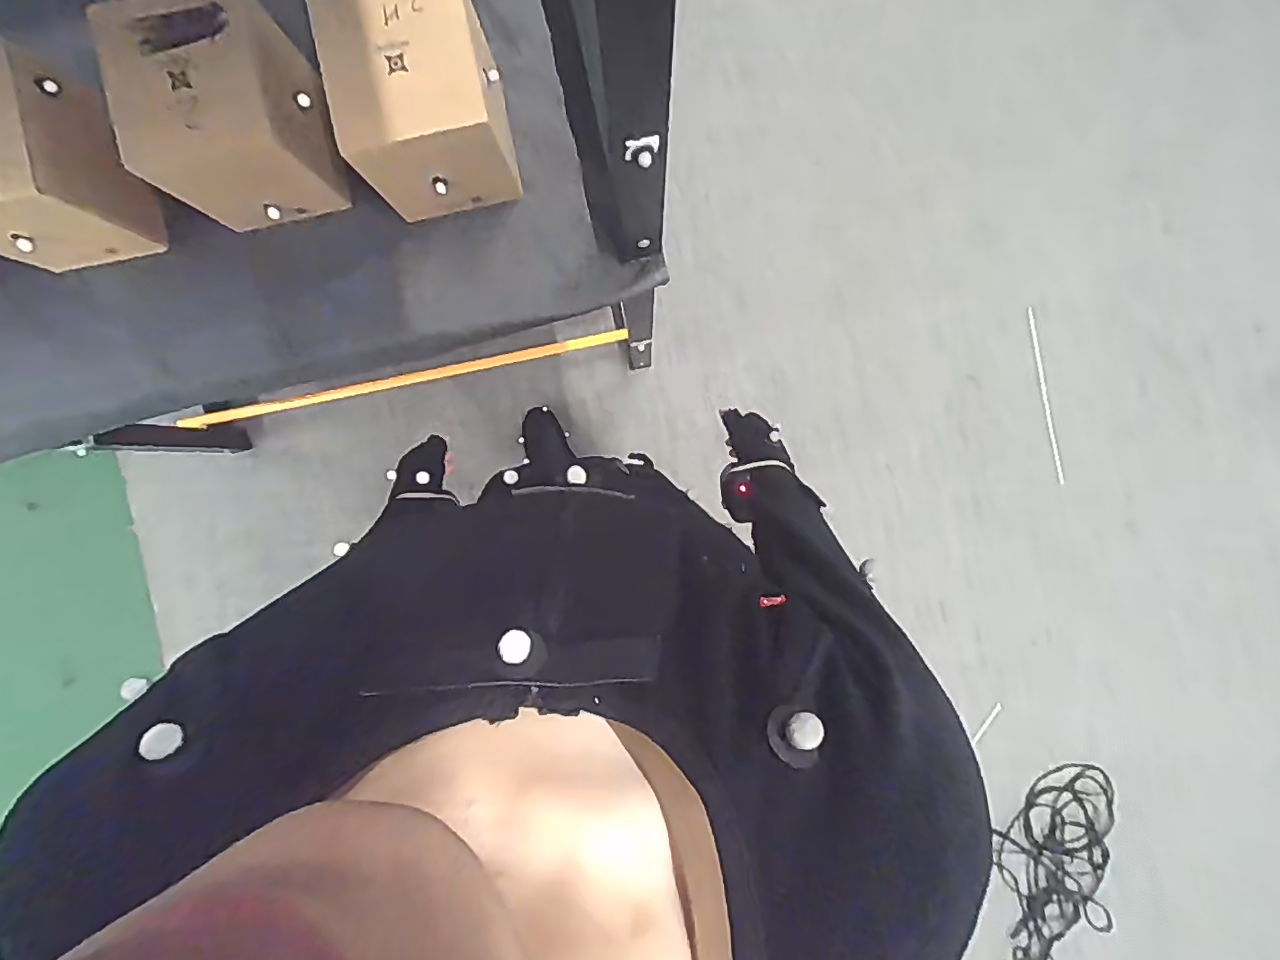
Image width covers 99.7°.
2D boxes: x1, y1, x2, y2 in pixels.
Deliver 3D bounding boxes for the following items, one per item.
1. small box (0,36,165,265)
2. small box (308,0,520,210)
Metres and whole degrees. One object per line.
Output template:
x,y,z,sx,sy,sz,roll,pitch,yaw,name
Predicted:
-0.742,-0.383,0.666,0.168,0.176,0.179,-11,91,1,small box
-0.257,-0.453,0.656,0.168,0.176,0.179,-12,91,1,small box
